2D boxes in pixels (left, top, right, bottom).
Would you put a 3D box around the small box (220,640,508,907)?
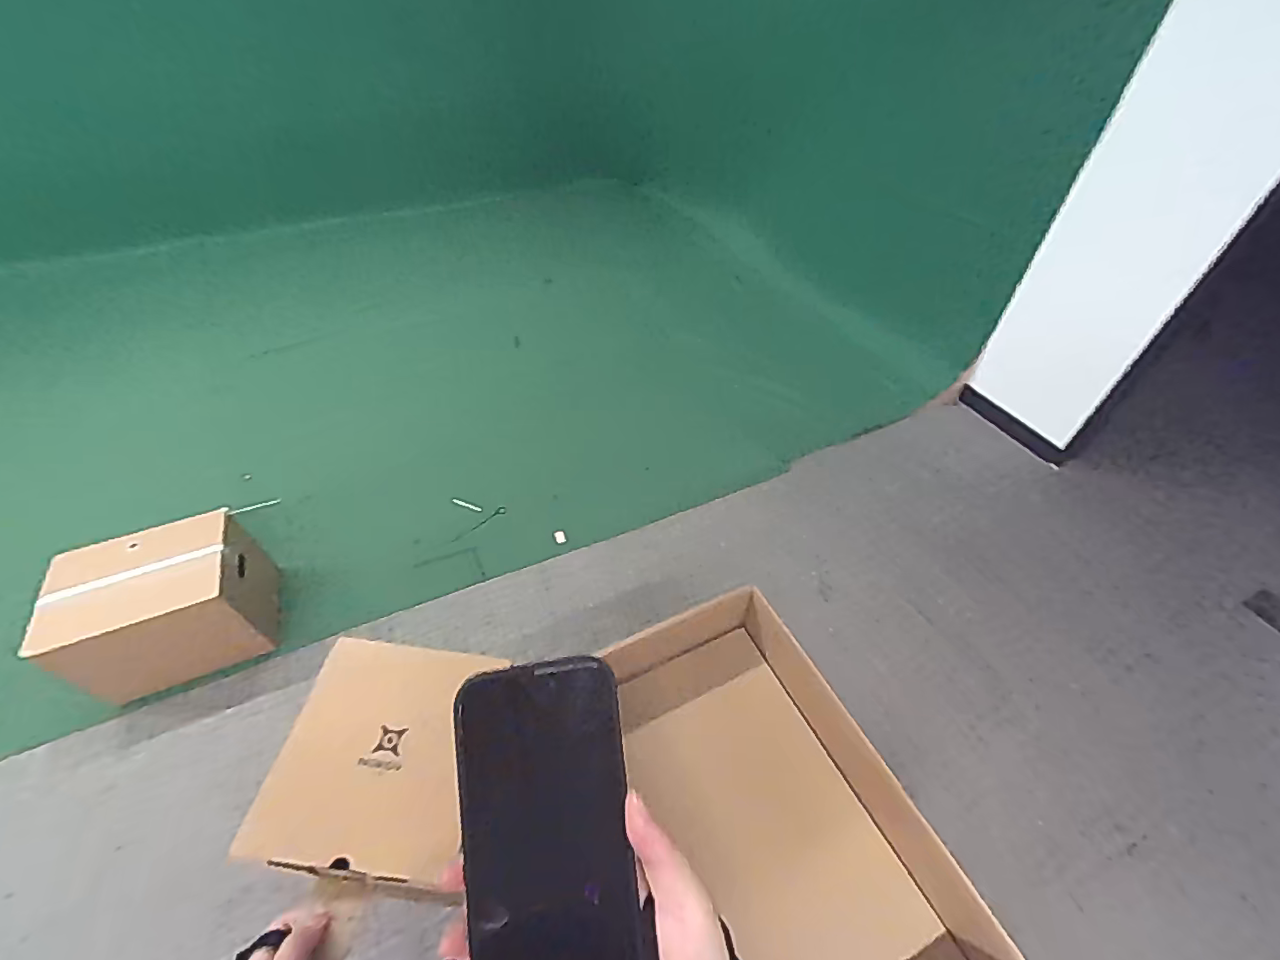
[{"bbox_3d":[-0.226,0.277,0.507,0.168,0.176,0.179,7,49,0],"label":"small box"}]
